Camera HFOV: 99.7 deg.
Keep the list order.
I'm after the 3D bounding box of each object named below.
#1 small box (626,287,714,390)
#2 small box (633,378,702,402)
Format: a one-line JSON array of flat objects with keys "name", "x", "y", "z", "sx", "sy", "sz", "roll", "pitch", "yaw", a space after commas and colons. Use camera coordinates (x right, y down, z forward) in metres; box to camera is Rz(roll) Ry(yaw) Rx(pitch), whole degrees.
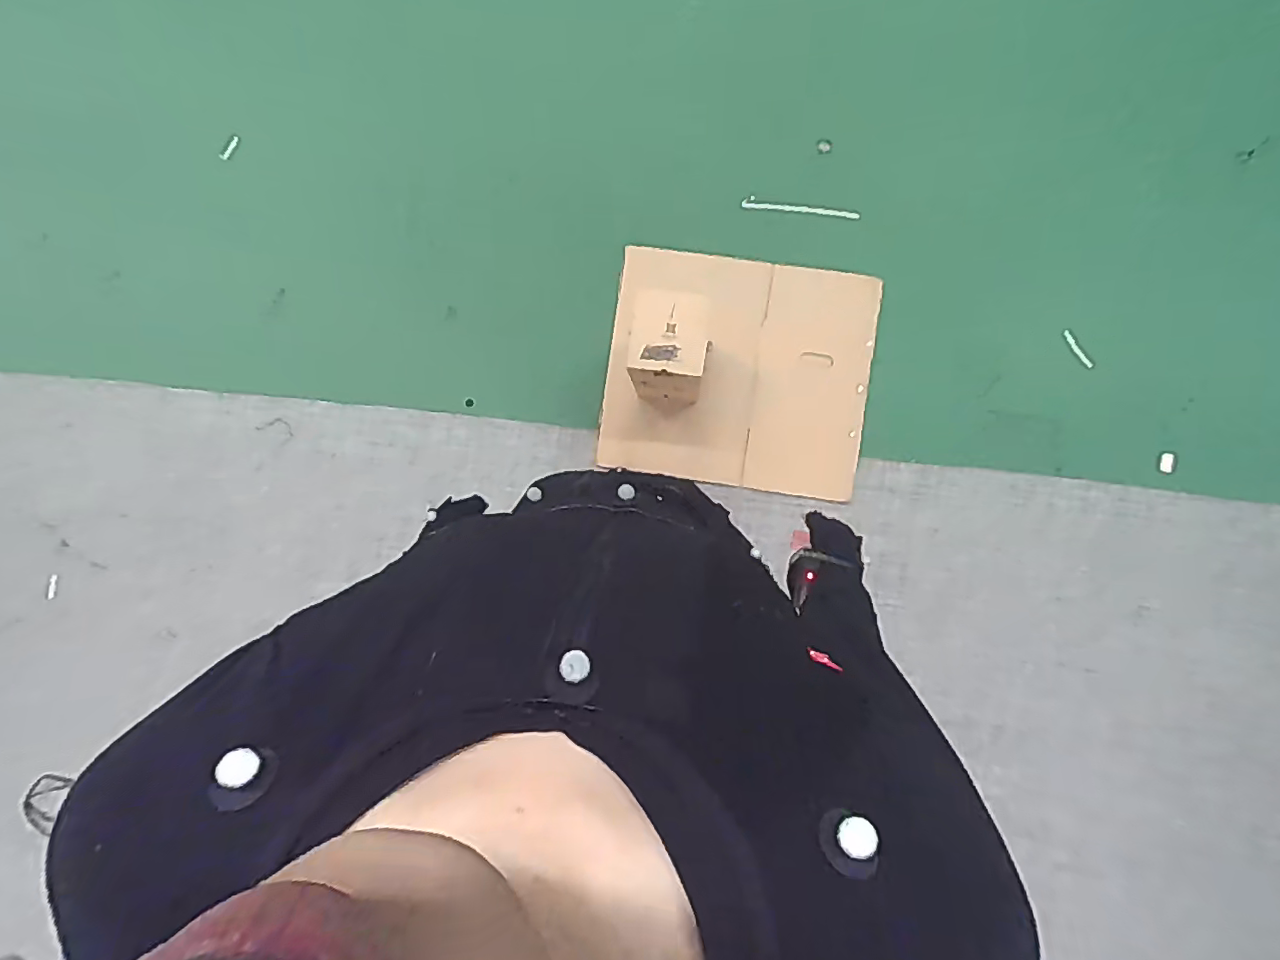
[{"name": "small box", "x": 0.068, "y": -0.308, "z": 1.211, "sx": 0.168, "sy": 0.176, "sz": 0.179, "roll": 9, "pitch": 89, "yaw": 4}, {"name": "small box", "x": 0.079, "y": -0.306, "z": 1.375, "sx": 0.168, "sy": 0.176, "sz": 0.179, "roll": 7, "pitch": 90, "yaw": 4}]
